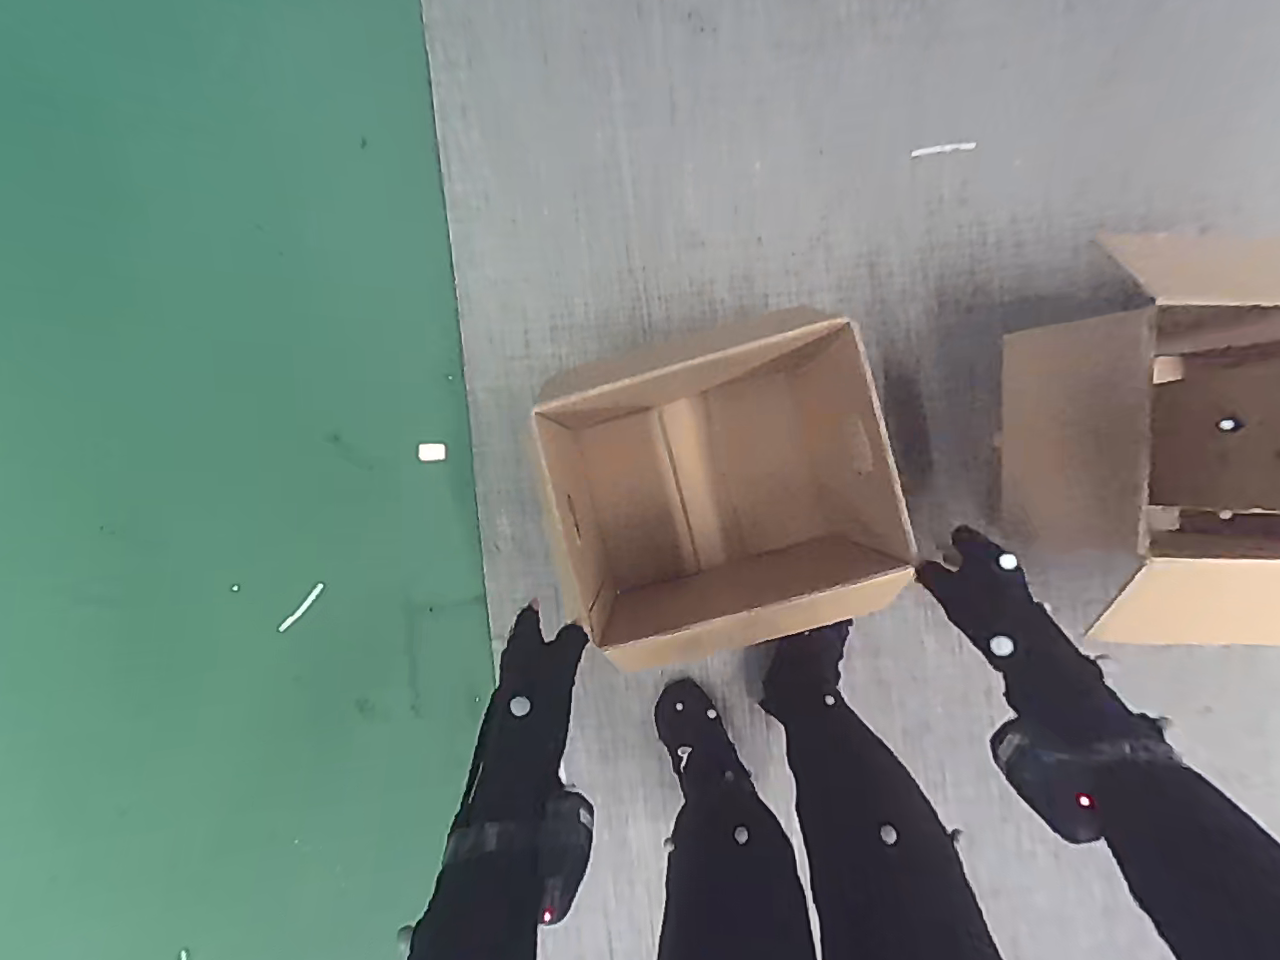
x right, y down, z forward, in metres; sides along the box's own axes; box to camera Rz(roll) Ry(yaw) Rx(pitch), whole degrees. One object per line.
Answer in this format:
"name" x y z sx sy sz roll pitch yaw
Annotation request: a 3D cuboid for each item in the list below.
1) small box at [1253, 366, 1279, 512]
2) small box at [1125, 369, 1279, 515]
"small box" 0.762 -0.045 0.518 0.179 0.176 0.168 0 92 3
"small box" 0.772 -0.043 0.680 0.179 0.176 0.168 0 90 4
